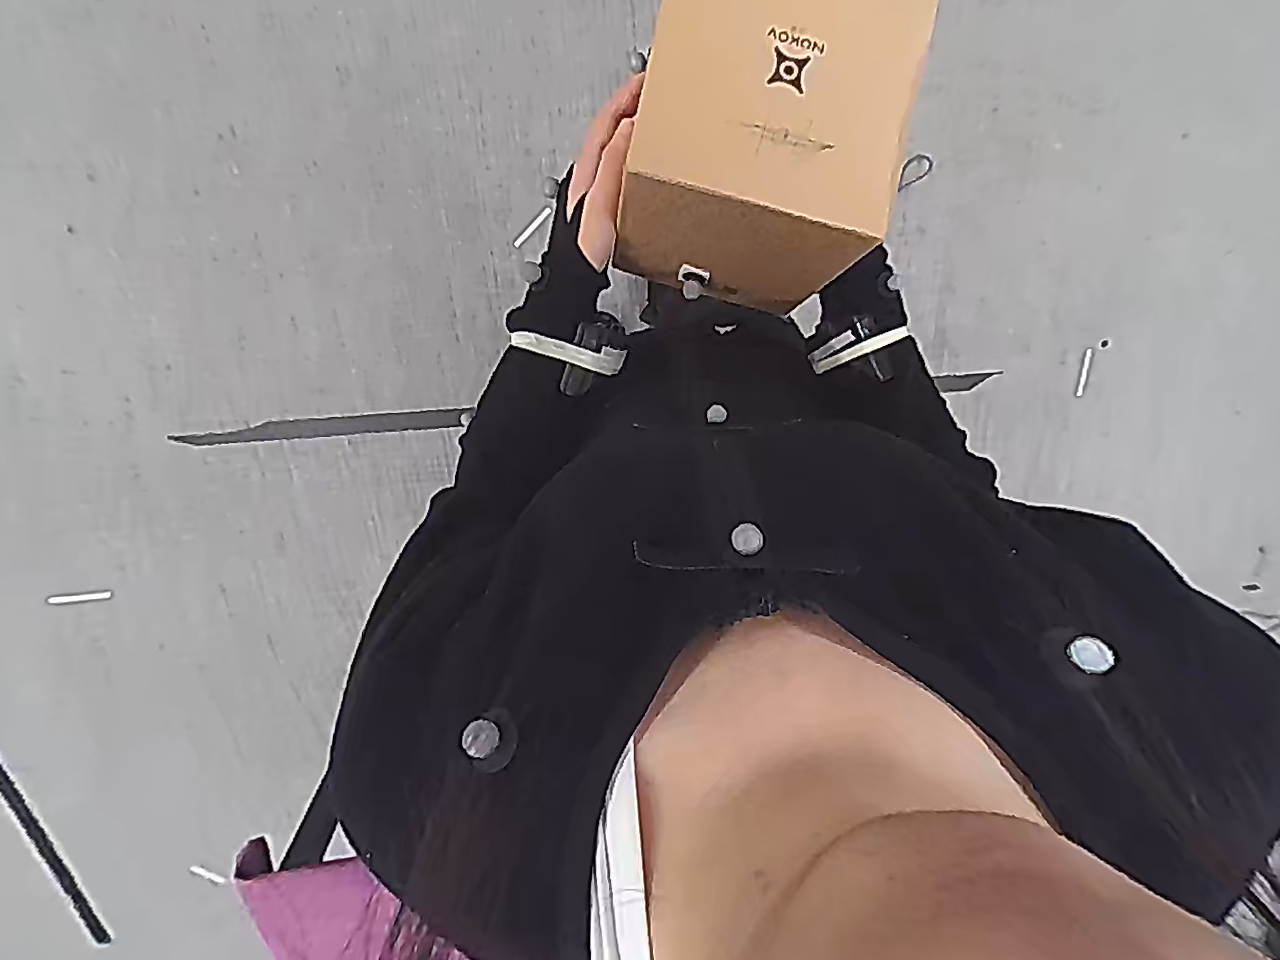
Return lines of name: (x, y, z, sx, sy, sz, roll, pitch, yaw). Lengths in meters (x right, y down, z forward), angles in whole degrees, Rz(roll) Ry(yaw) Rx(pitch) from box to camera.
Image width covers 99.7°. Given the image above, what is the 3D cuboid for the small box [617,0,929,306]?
small box: (0.079, -0.255, 0.407, 0.168, 0.176, 0.179, 11, 91, -5)
